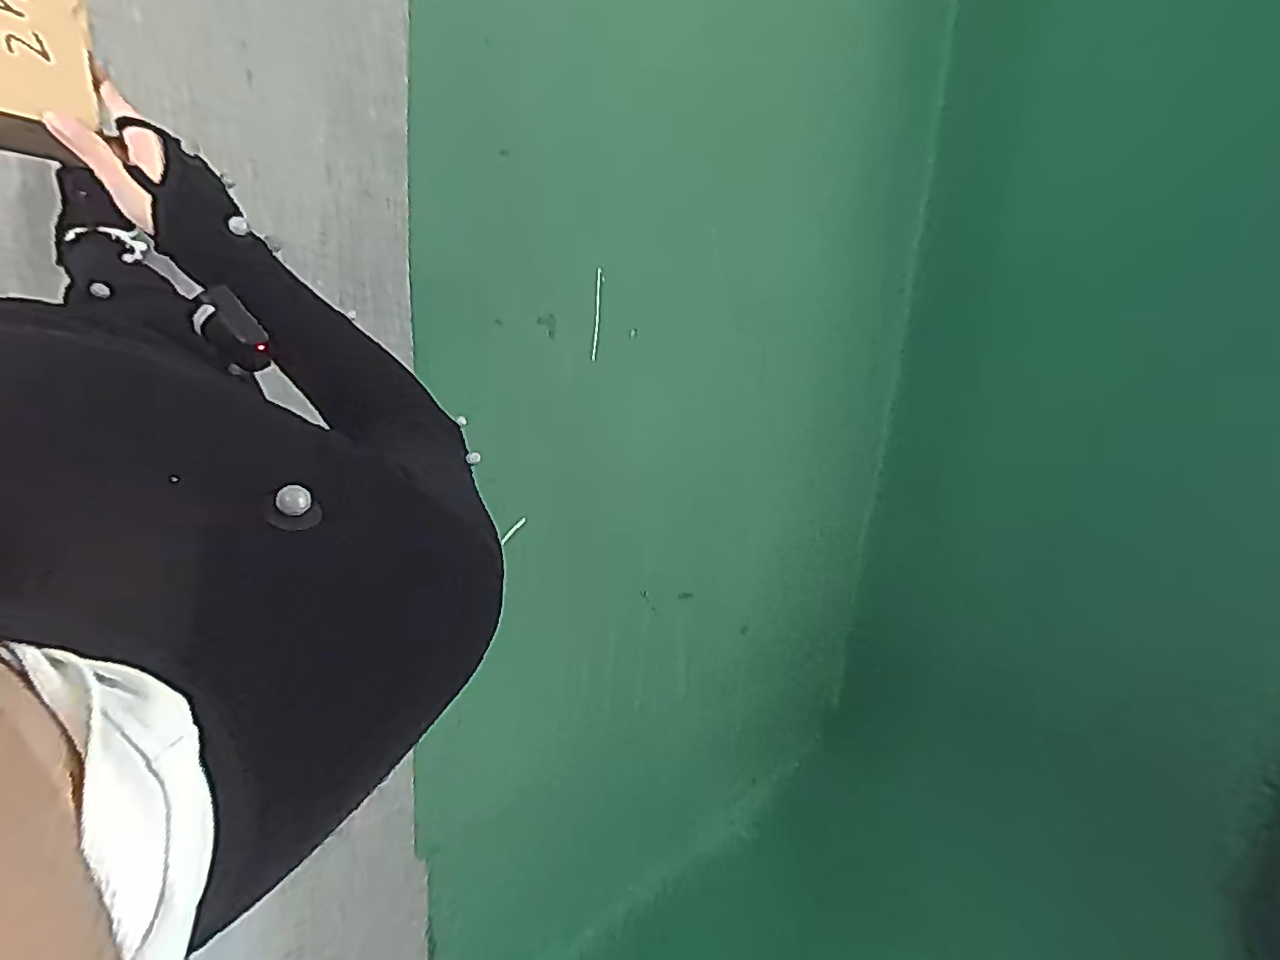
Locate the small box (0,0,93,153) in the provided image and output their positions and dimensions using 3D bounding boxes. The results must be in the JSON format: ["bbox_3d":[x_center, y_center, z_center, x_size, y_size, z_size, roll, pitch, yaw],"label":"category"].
[{"bbox_3d":[-0.561,-0.376,0.419,0.179,0.176,0.168,-11,112,-45],"label":"small box"}]

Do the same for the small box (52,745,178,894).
[{"bbox_3d":[-1.087,0.689,1.127,0.168,0.176,0.179,-9,109,-40],"label":"small box"}]
